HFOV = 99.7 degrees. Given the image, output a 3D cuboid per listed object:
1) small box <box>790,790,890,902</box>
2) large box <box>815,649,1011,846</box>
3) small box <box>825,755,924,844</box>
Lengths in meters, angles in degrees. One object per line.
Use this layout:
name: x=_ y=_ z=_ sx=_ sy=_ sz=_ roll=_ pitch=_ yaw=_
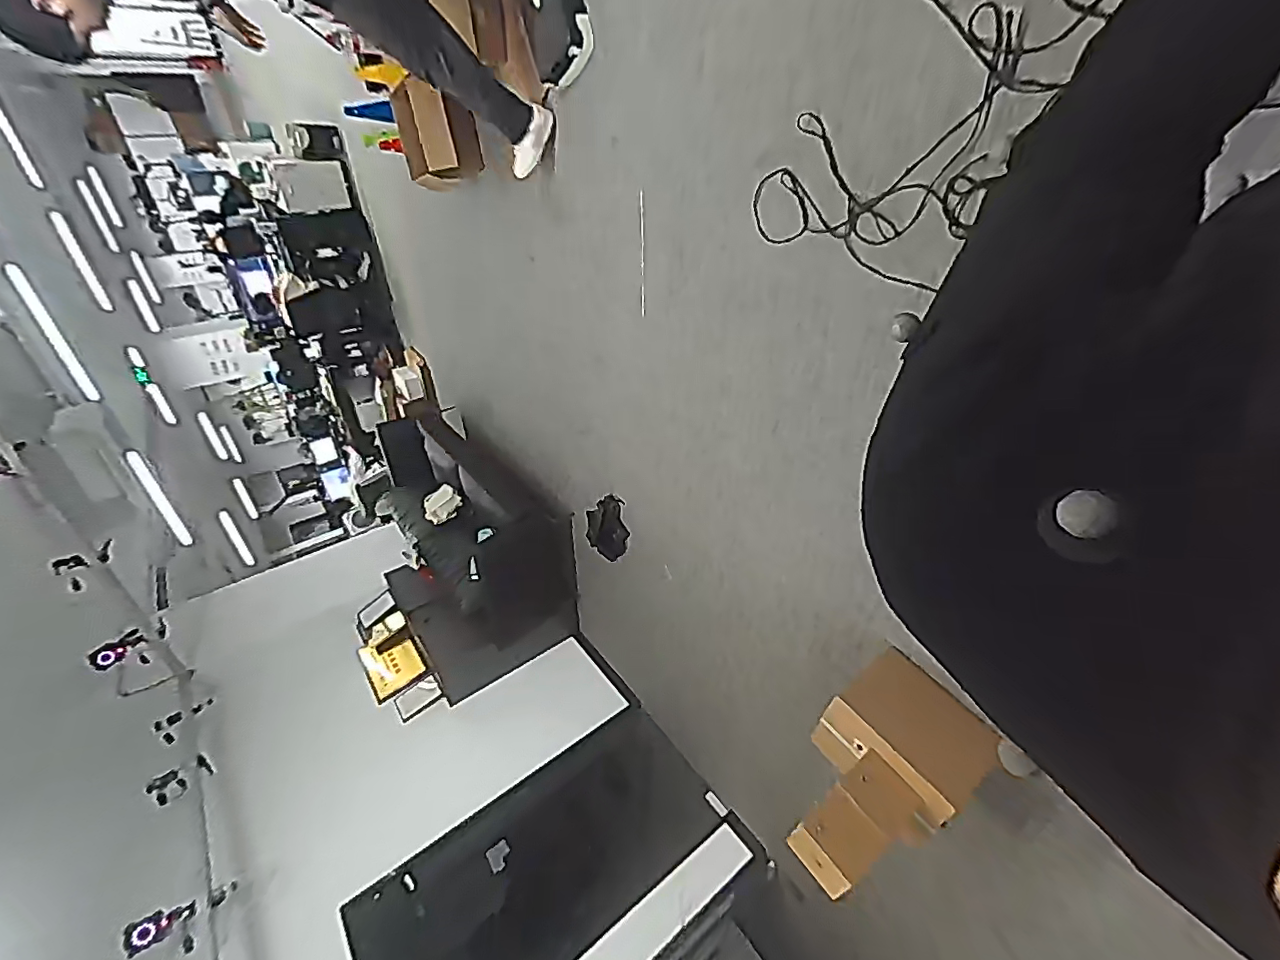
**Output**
small box: x=0.553 y=1.009 z=1.497 sx=0.179 sy=0.176 sz=0.168 roll=43 pitch=144 yaw=36
large box: x=0.847 y=0.834 z=1.719 sx=0.408 sy=0.320 sz=0.320 roll=43 pitch=142 yaw=36
small box: x=0.680 y=0.937 z=1.571 sx=0.179 sy=0.176 sz=0.168 roll=42 pitch=143 yaw=35
